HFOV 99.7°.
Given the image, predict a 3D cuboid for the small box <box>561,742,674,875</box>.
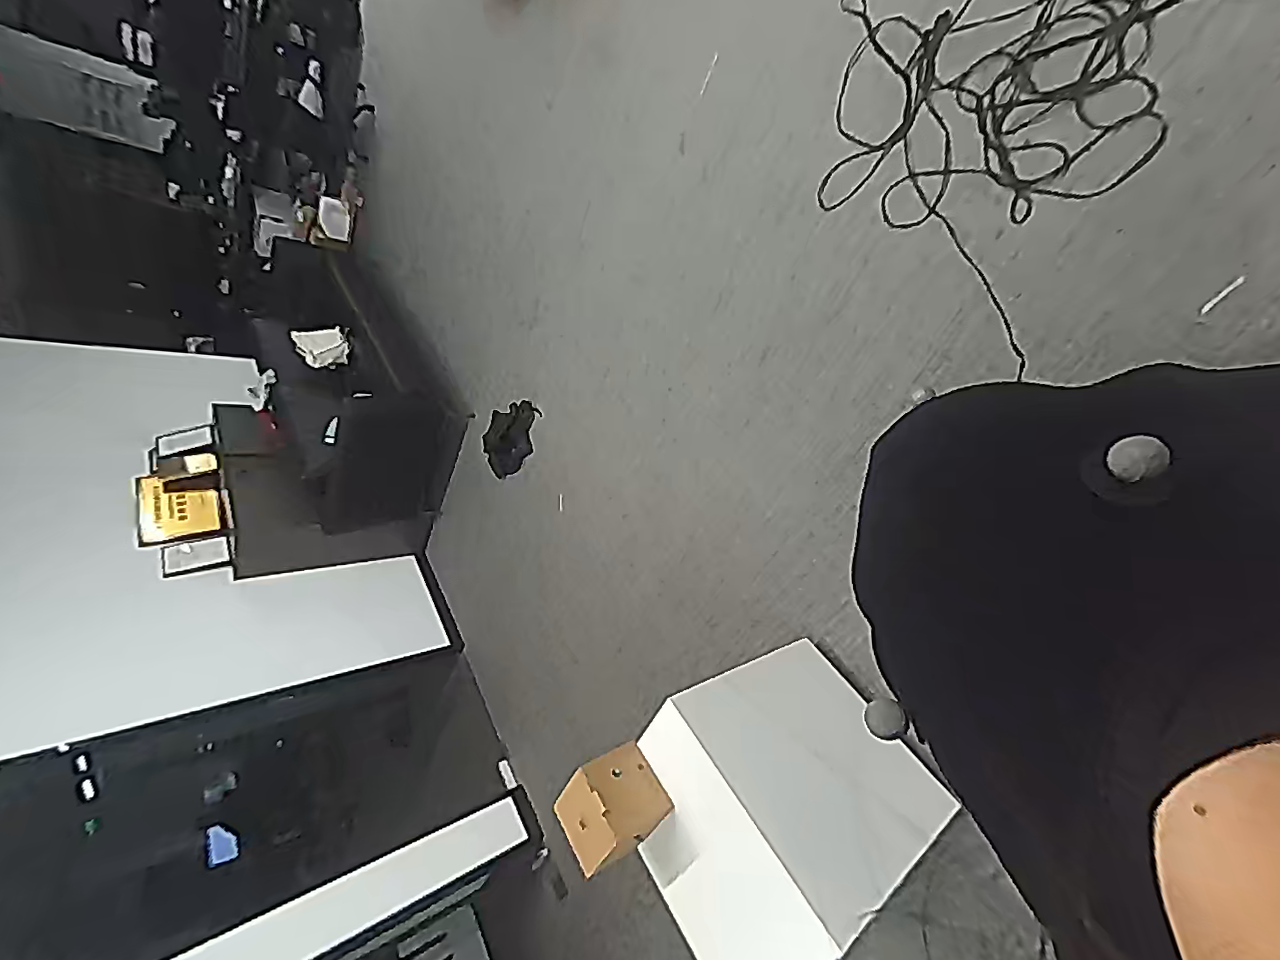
[{"bbox_3d":[-0.047,0.728,1.216,0.168,0.176,0.179,49,127,35],"label":"small box"}]
